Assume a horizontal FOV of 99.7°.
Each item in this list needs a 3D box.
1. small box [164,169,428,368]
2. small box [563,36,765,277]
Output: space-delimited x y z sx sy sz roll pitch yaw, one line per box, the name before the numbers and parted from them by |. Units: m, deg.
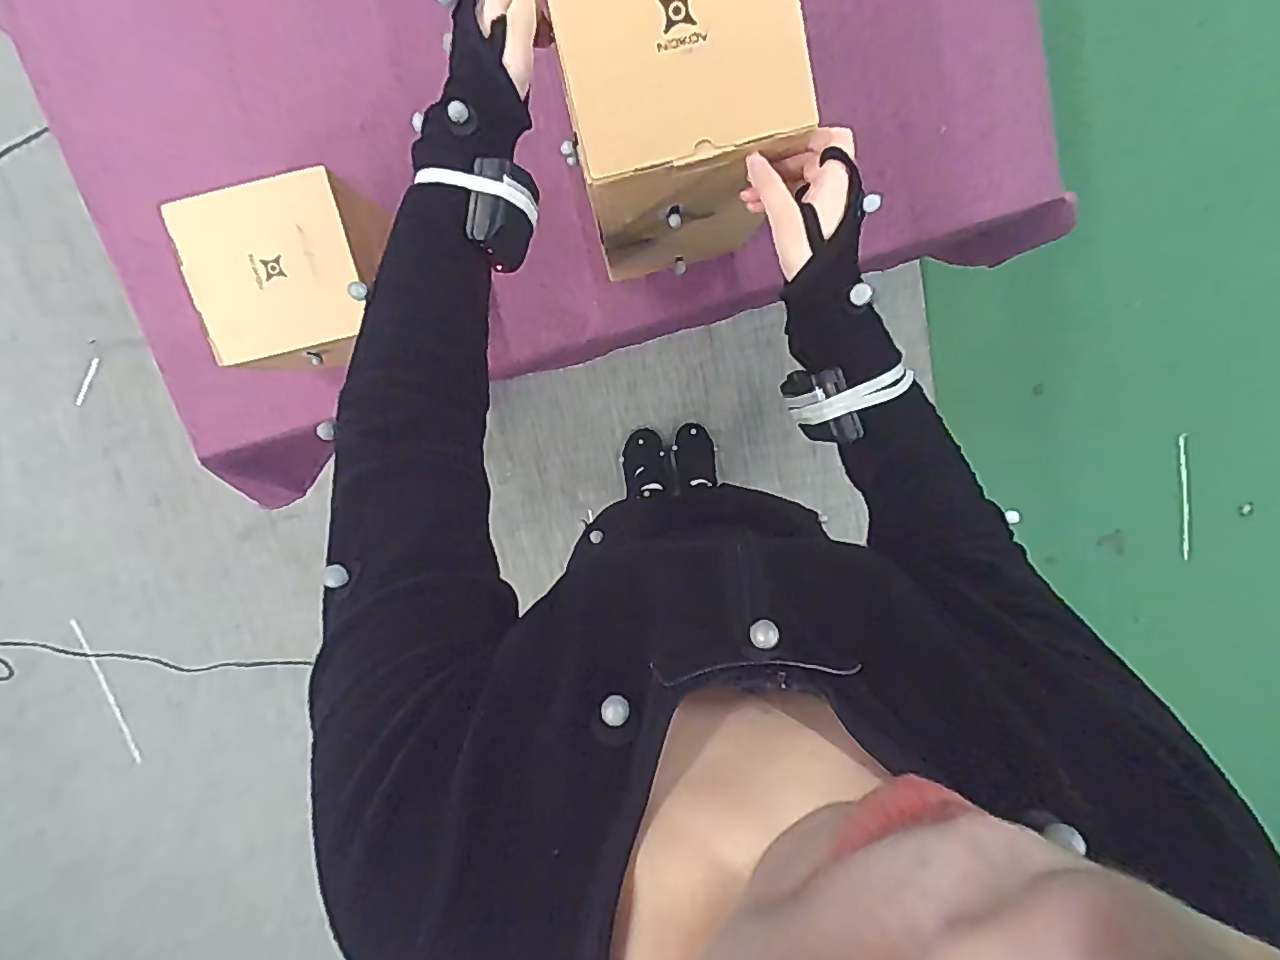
small box | -0.380 -0.230 0.634 0.179 0.176 0.168 -13 101 1
small box | 0.024 -0.347 0.617 0.179 0.176 0.168 -14 100 2
